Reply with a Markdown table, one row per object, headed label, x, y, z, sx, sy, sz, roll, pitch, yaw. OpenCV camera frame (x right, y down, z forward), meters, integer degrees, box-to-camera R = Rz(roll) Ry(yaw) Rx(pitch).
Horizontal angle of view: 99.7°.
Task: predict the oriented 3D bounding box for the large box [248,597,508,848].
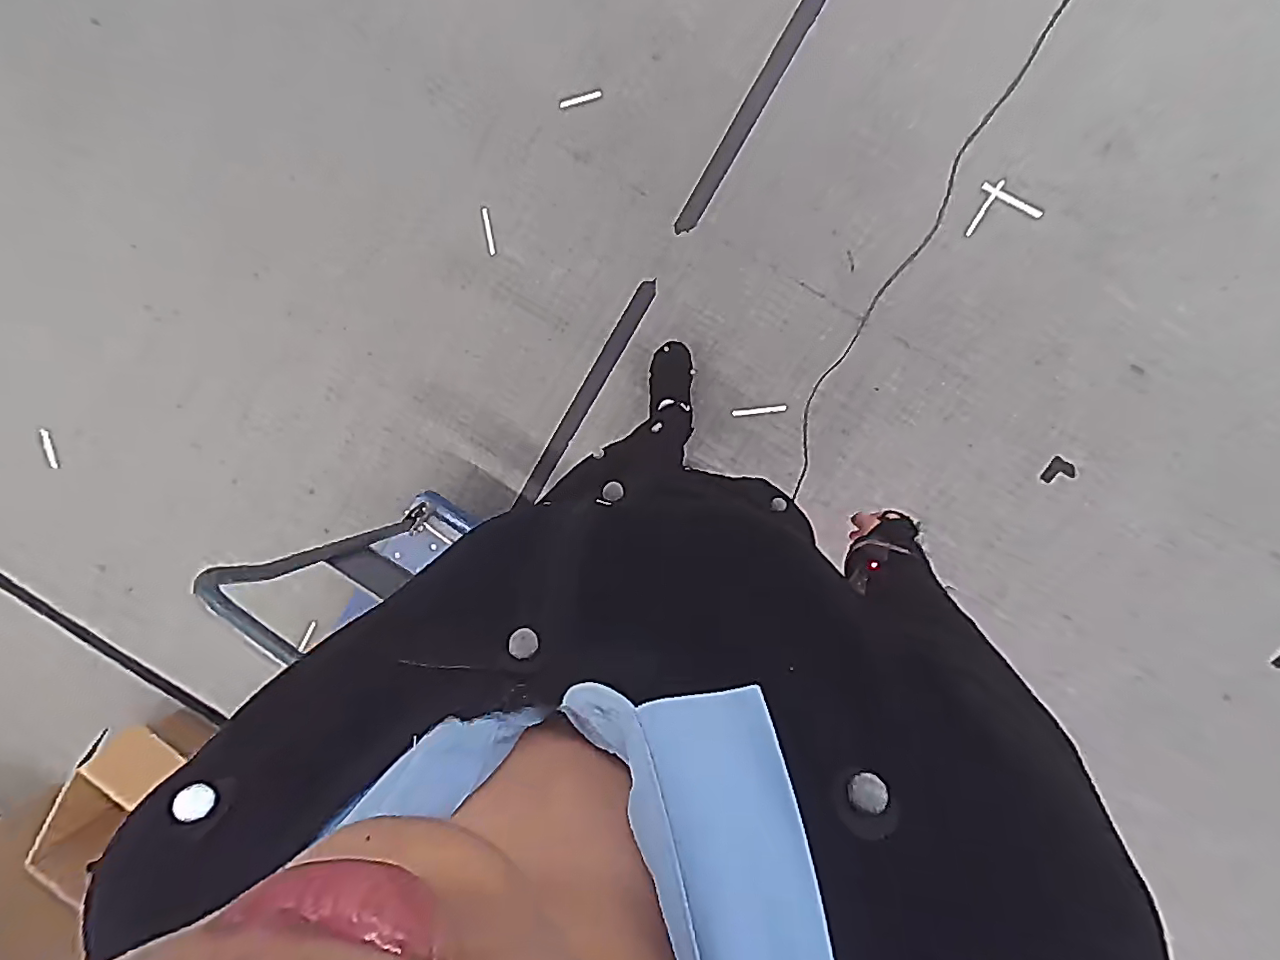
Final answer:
| label | x | y | z | sx | sy | sz | roll | pitch | yaw |
| --- | --- | --- | --- | --- | --- | --- | --- | --- | --- |
| large box | -0.607 | 0.559 | 1.312 | 0.408 | 0.320 | 0.320 | 37 | 101 | -1 |
